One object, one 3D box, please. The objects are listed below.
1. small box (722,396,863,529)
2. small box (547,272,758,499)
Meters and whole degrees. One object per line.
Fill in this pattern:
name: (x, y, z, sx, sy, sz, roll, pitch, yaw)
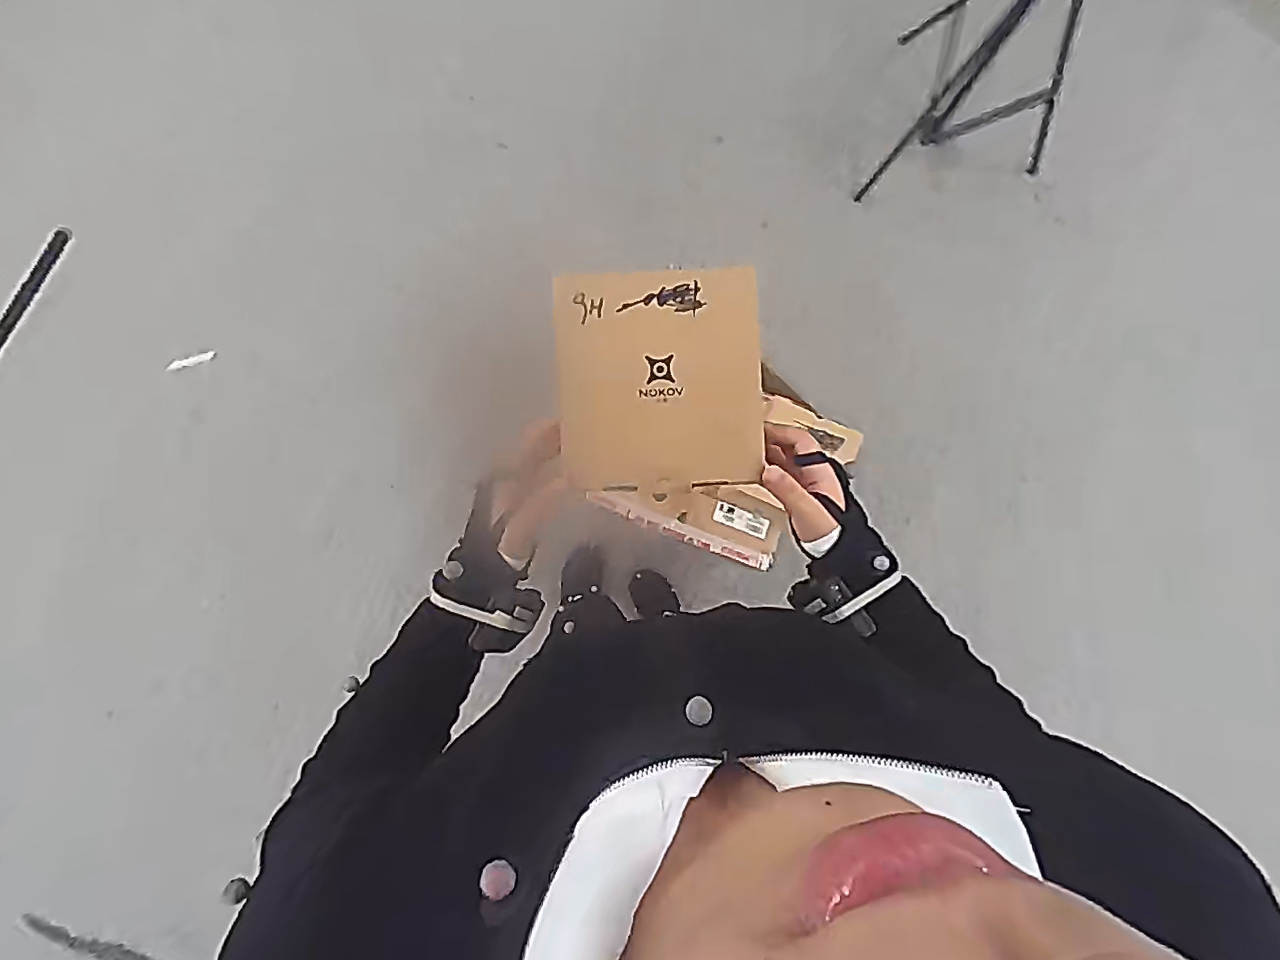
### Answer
small box: (0.262, -0.024, 0.970, 0.168, 0.176, 0.179, 24, 84, -1)
small box: (0.012, -0.081, 0.517, 0.168, 0.176, 0.179, -4, 93, -1)
